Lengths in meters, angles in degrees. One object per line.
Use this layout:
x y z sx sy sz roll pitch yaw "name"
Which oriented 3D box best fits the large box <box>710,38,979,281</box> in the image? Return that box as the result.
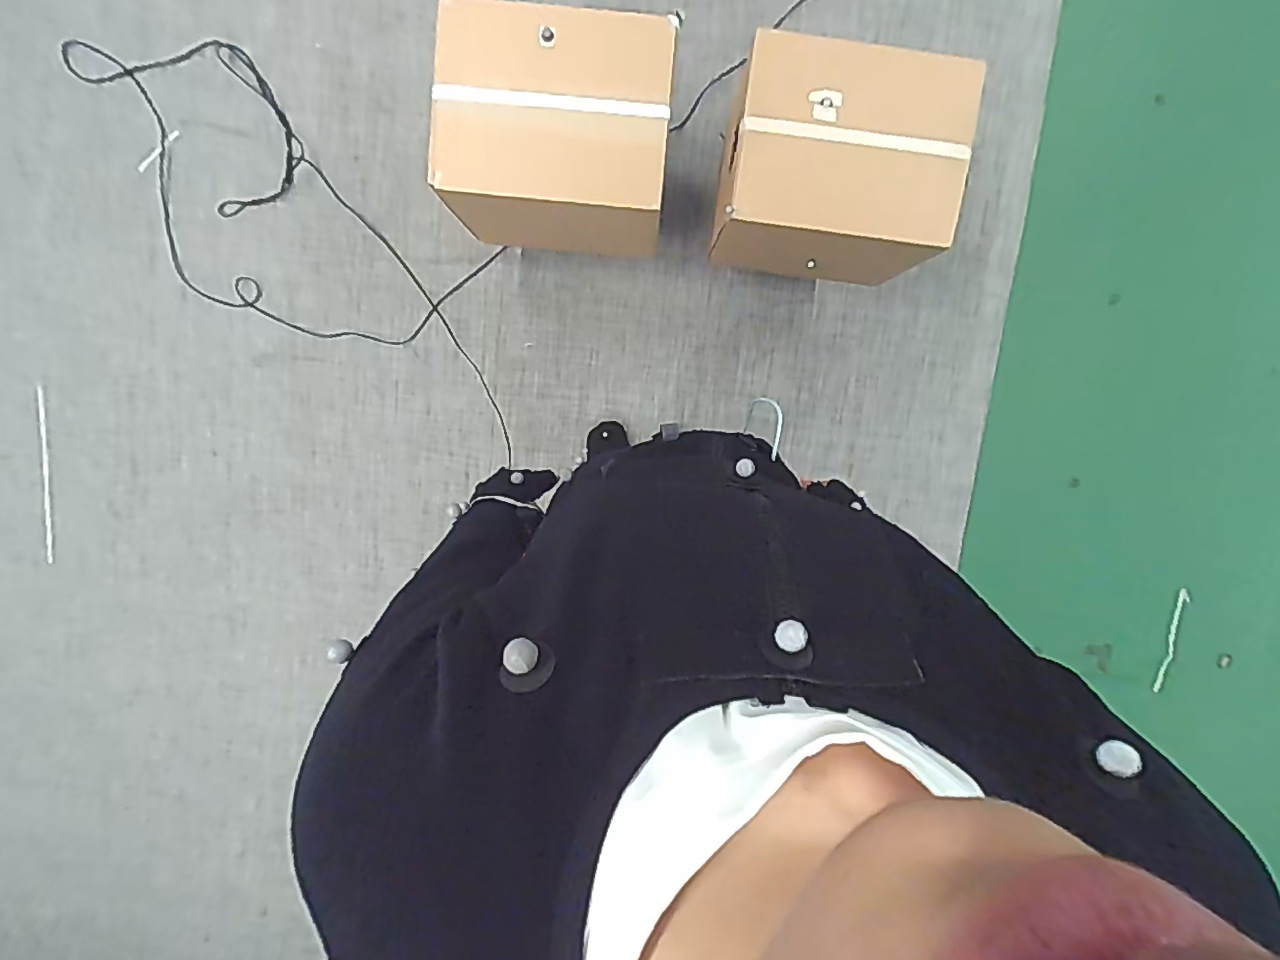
0.380 -0.615 1.105 0.408 0.320 0.320 7 97 -1 "large box"
